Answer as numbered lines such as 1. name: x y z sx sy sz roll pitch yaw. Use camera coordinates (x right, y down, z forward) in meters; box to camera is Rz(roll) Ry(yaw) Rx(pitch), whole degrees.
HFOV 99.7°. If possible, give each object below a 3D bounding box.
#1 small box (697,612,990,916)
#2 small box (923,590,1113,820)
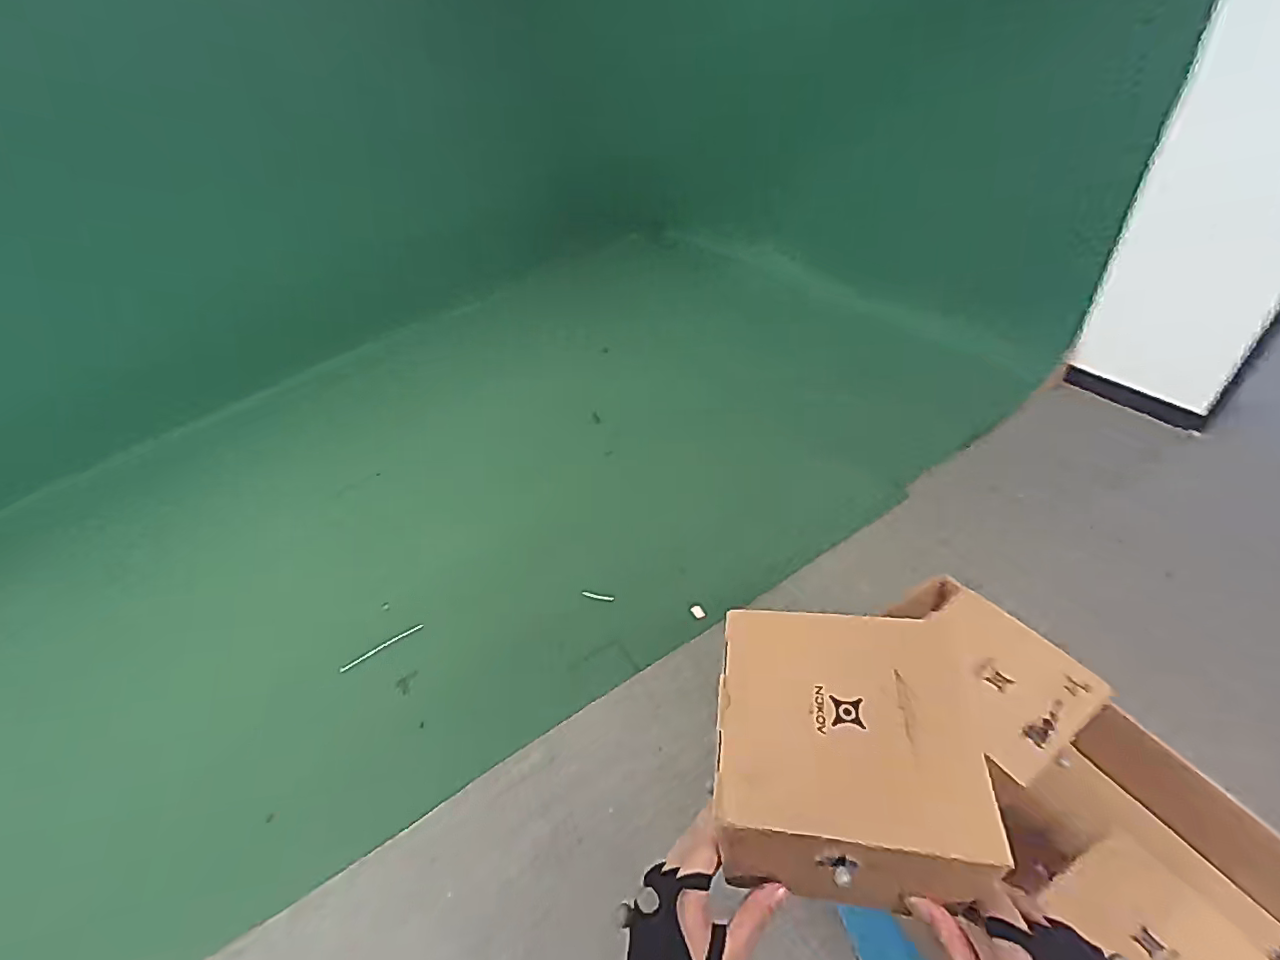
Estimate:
1. small box: 0.148 0.229 0.443 0.179 0.176 0.168 0 43 13
2. small box: 0.416 0.280 0.676 0.168 0.176 0.179 -31 48 -16
